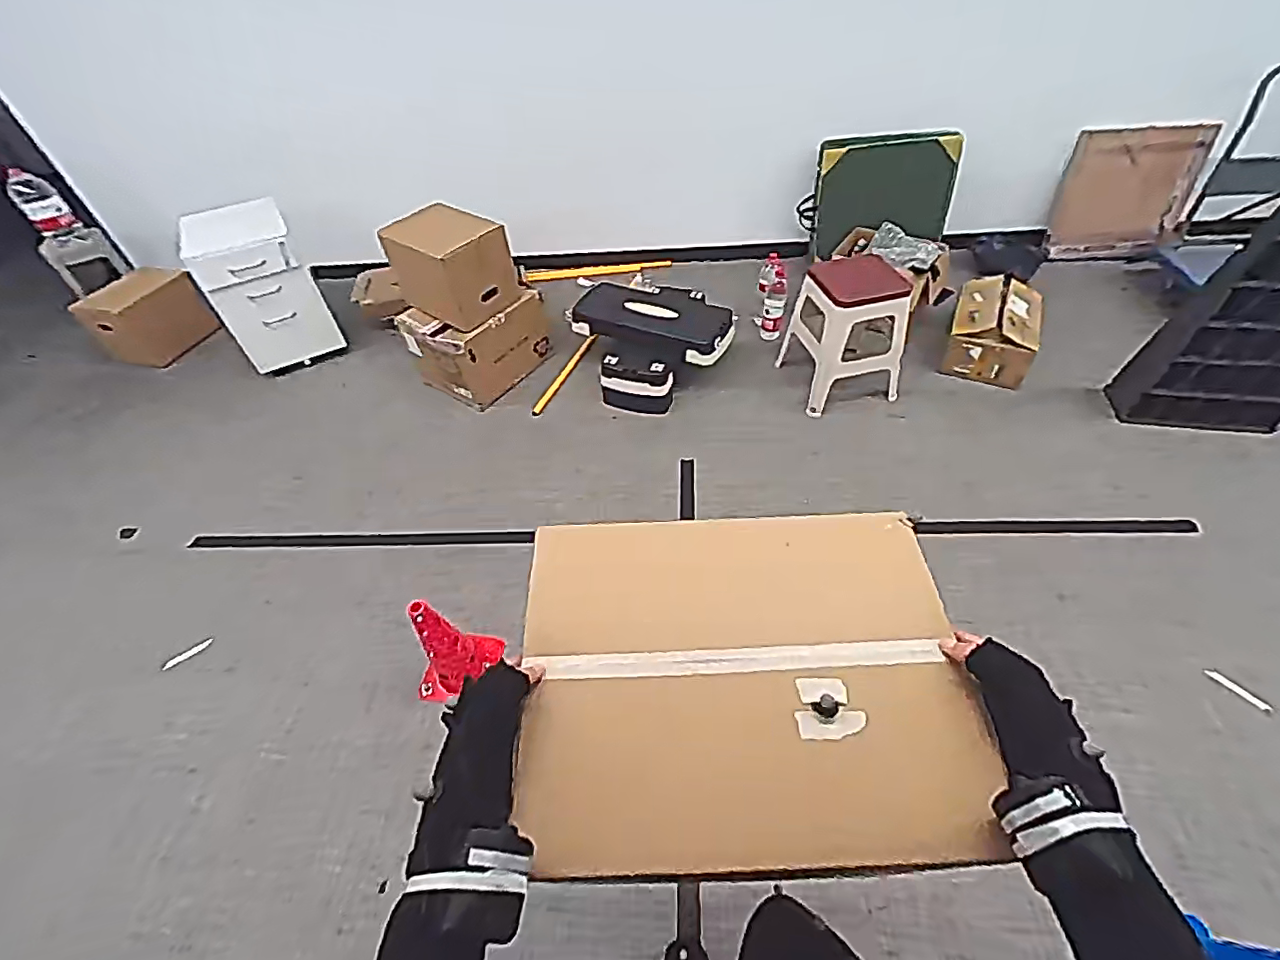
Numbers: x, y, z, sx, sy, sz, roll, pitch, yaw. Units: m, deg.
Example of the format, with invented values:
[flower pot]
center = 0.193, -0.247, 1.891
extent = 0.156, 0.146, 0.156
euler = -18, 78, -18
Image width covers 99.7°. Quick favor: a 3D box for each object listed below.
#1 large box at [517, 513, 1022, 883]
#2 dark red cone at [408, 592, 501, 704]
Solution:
[large box]
center = 0.097, 0.258, 0.624
extent = 0.408, 0.320, 0.320
euler = -2, 52, 0
[dark red cone]
center = -0.512, 0.408, 1.393
extent = 0.201, 0.394, 0.202
euler = 4, 49, 7
